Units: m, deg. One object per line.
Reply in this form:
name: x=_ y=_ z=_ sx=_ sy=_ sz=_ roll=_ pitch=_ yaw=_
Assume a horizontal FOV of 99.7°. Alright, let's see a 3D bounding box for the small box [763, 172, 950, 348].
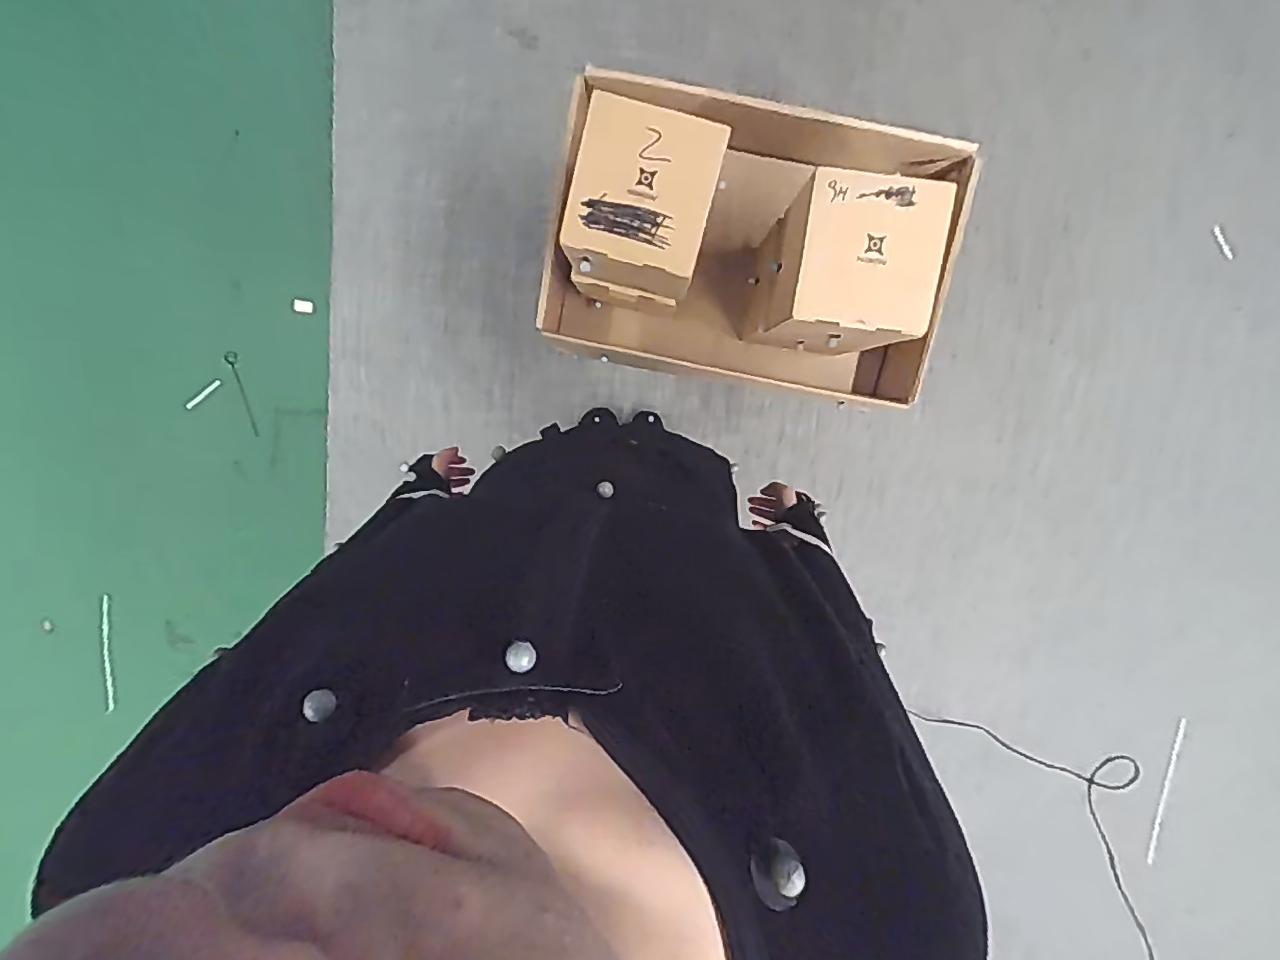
small box: x=0.272 y=-0.278 z=0.725 sx=0.168 sy=0.176 sz=0.179 roll=9 pitch=100 yaw=-1
